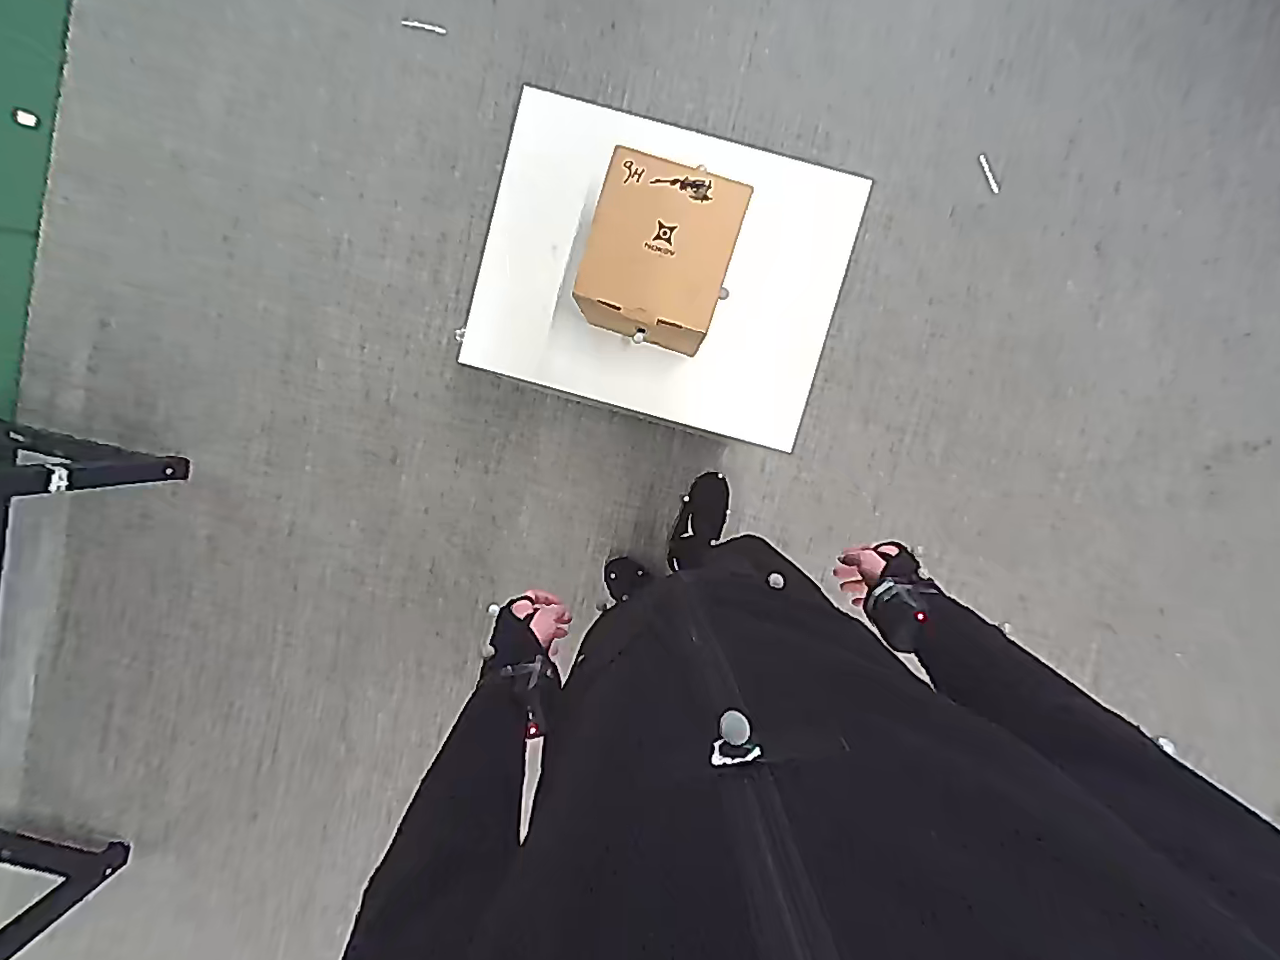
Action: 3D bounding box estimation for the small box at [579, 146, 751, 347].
[{"bbox_3d":[0.032,-0.286,0.707,0.168,0.176,0.179,16,94,1],"label":"small box"}]
